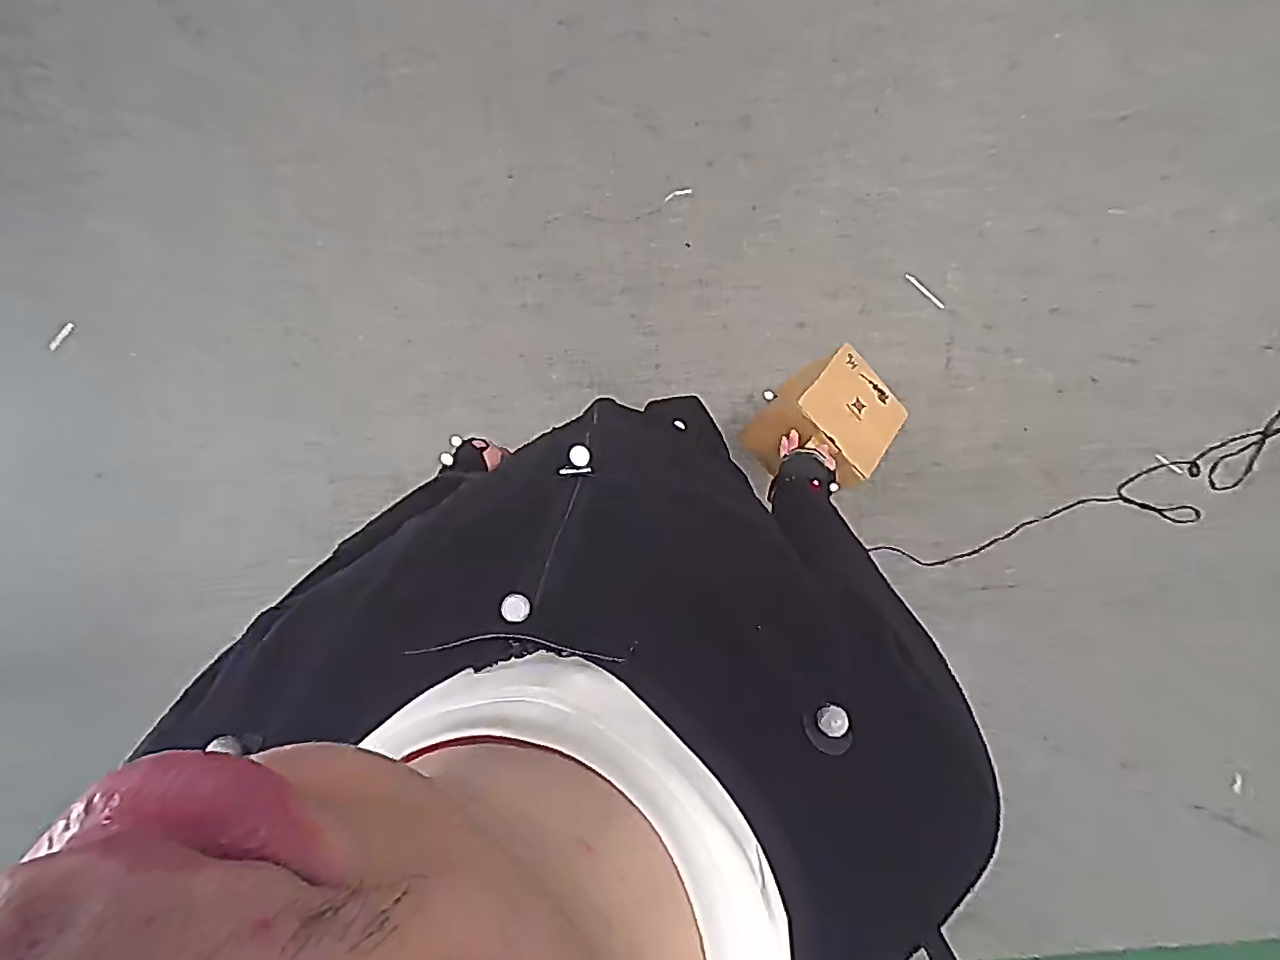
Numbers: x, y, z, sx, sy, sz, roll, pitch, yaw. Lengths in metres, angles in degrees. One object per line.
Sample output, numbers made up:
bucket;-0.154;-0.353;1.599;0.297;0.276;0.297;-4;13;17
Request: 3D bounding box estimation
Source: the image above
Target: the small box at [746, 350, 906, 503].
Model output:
small box;0.310;-0.083;0.934;0.168;0.176;0.179;44;63;-6
